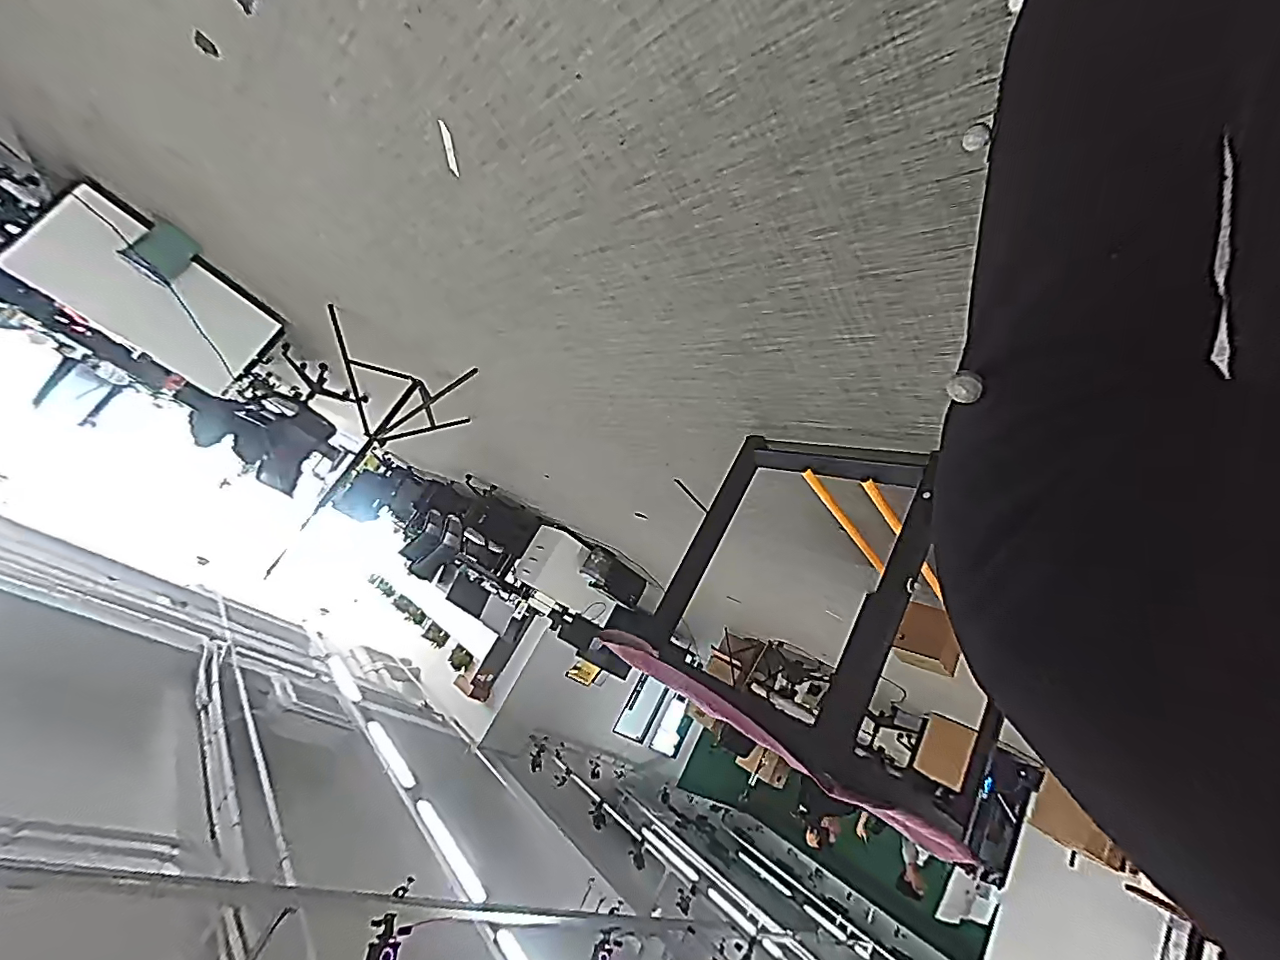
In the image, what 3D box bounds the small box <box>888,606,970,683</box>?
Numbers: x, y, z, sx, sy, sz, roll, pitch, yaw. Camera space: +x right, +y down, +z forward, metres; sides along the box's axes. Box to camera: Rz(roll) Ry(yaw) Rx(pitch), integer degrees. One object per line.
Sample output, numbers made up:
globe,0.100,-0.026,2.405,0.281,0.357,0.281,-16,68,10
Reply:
small box,0.963,0.539,1.795,0.179,0.176,0.168,6,151,50
